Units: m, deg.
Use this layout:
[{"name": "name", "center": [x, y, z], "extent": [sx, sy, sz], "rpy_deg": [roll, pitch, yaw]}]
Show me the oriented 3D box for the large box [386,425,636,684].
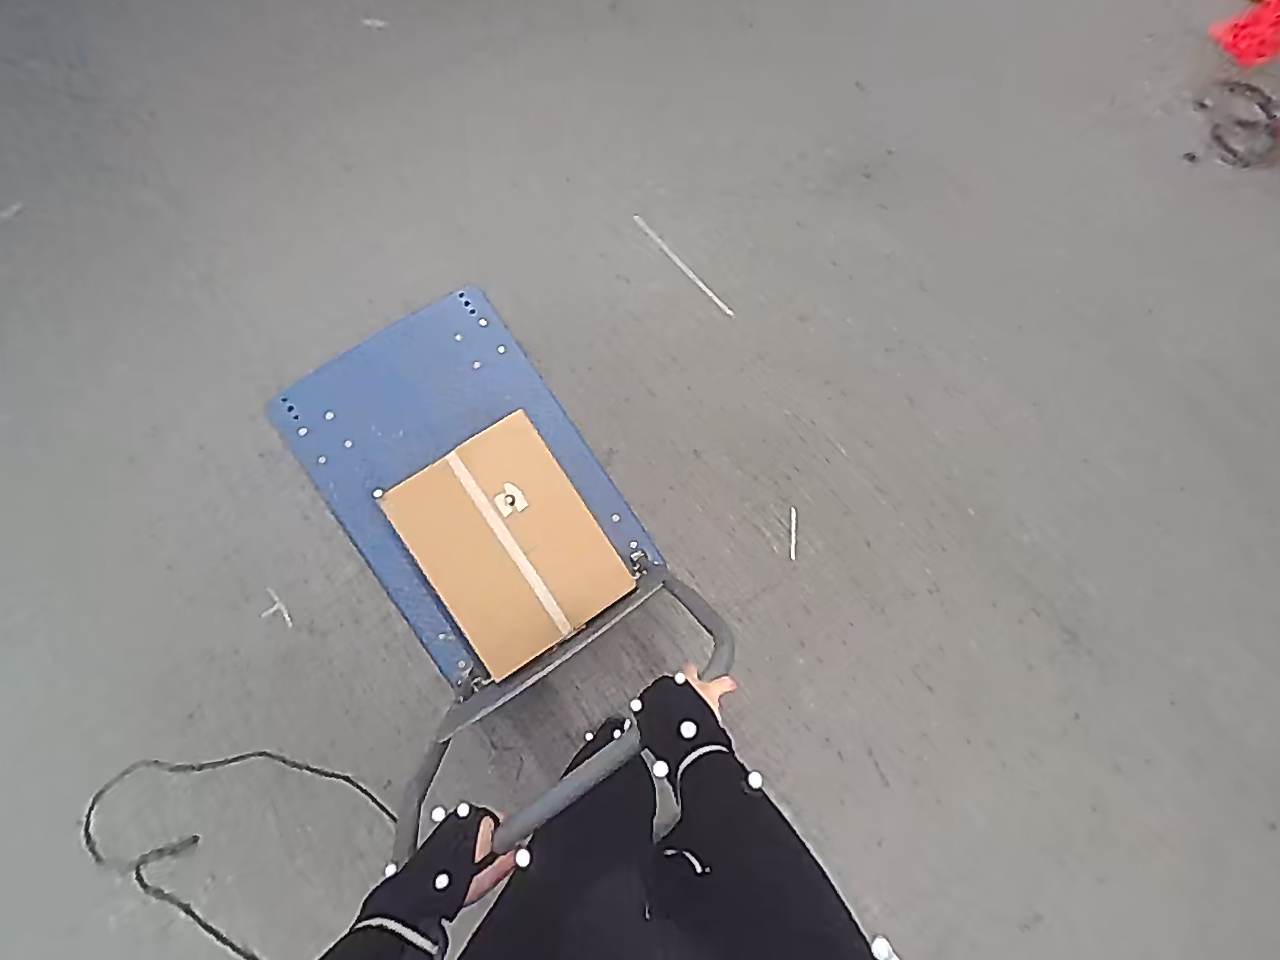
[{"name": "large box", "center": [-0.252, 0.149, 1.170], "extent": [0.320, 0.320, 0.408], "rpy_deg": [-34, 89, -8]}]
